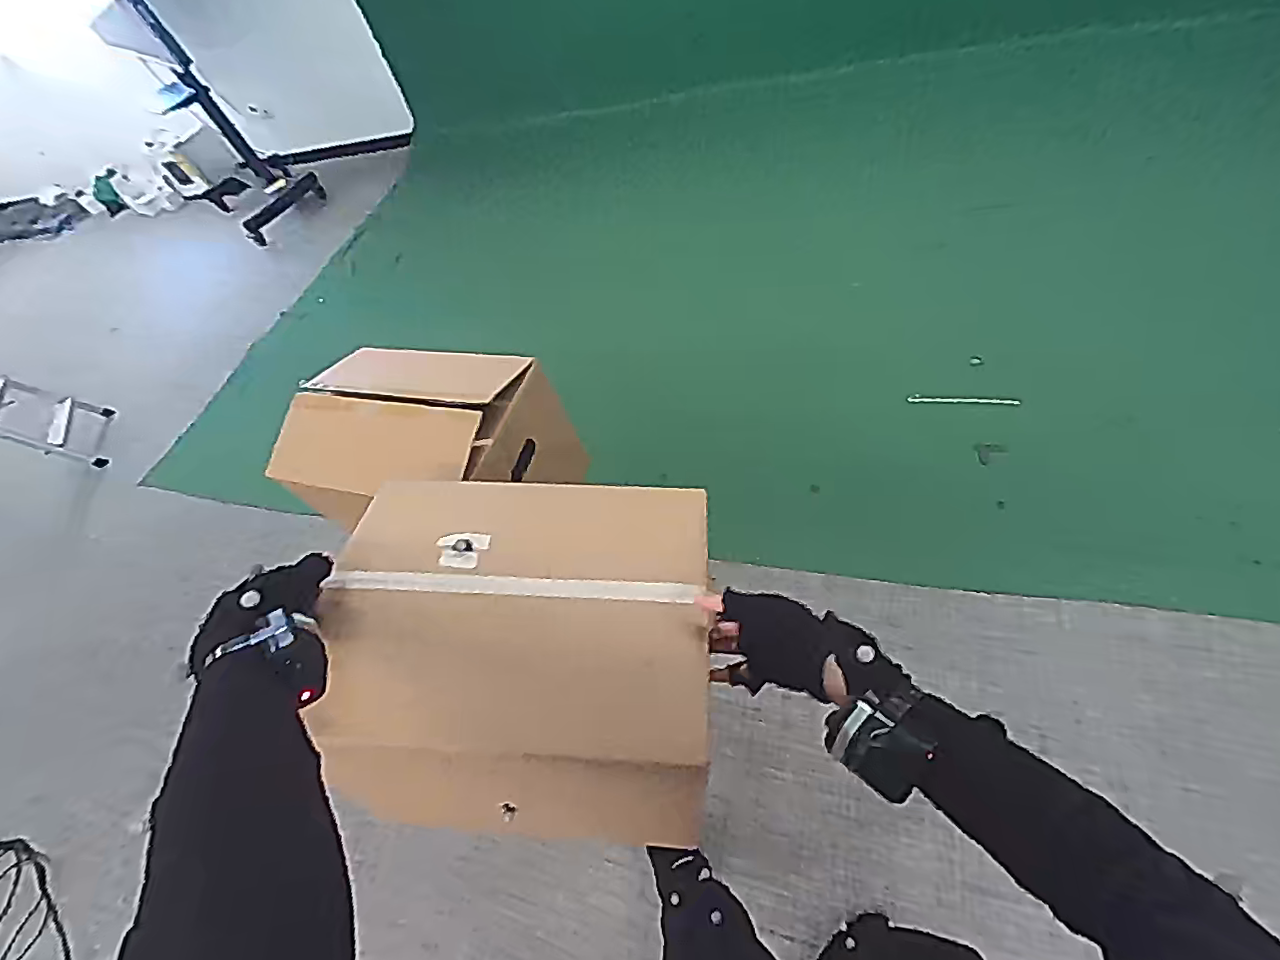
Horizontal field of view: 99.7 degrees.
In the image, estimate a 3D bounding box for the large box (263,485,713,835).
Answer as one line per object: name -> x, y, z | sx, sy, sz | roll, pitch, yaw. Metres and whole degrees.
large box -> -0.119, 0.221, 0.671 | 0.408, 0.320, 0.320 | 1, 45, 6
